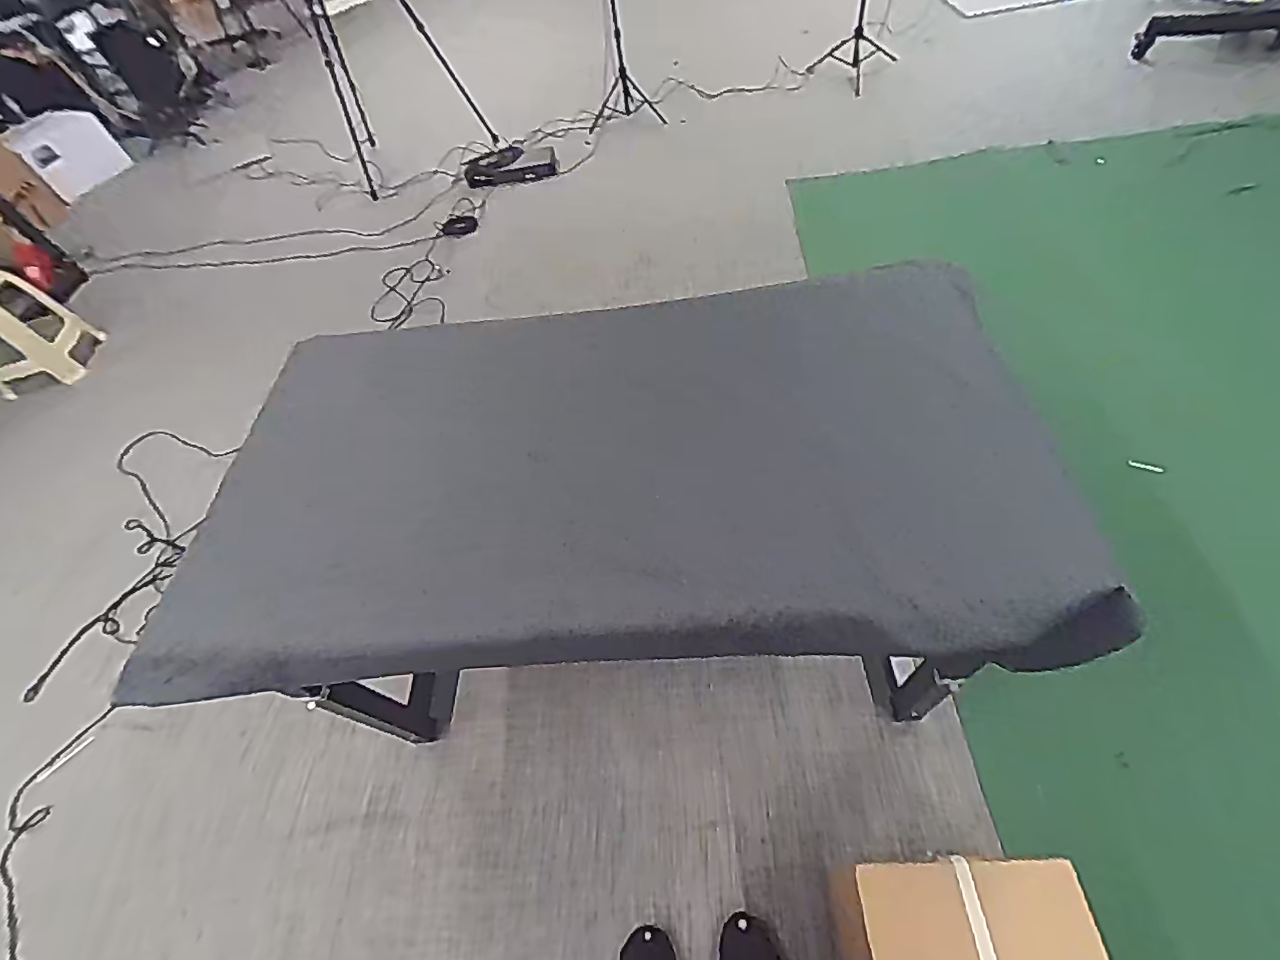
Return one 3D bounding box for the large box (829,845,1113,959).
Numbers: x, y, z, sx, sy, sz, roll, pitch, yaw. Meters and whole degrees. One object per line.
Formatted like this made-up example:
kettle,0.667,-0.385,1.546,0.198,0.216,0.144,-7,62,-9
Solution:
large box,0.508,0.805,0.819,0.320,0.320,0.408,-6,55,6
